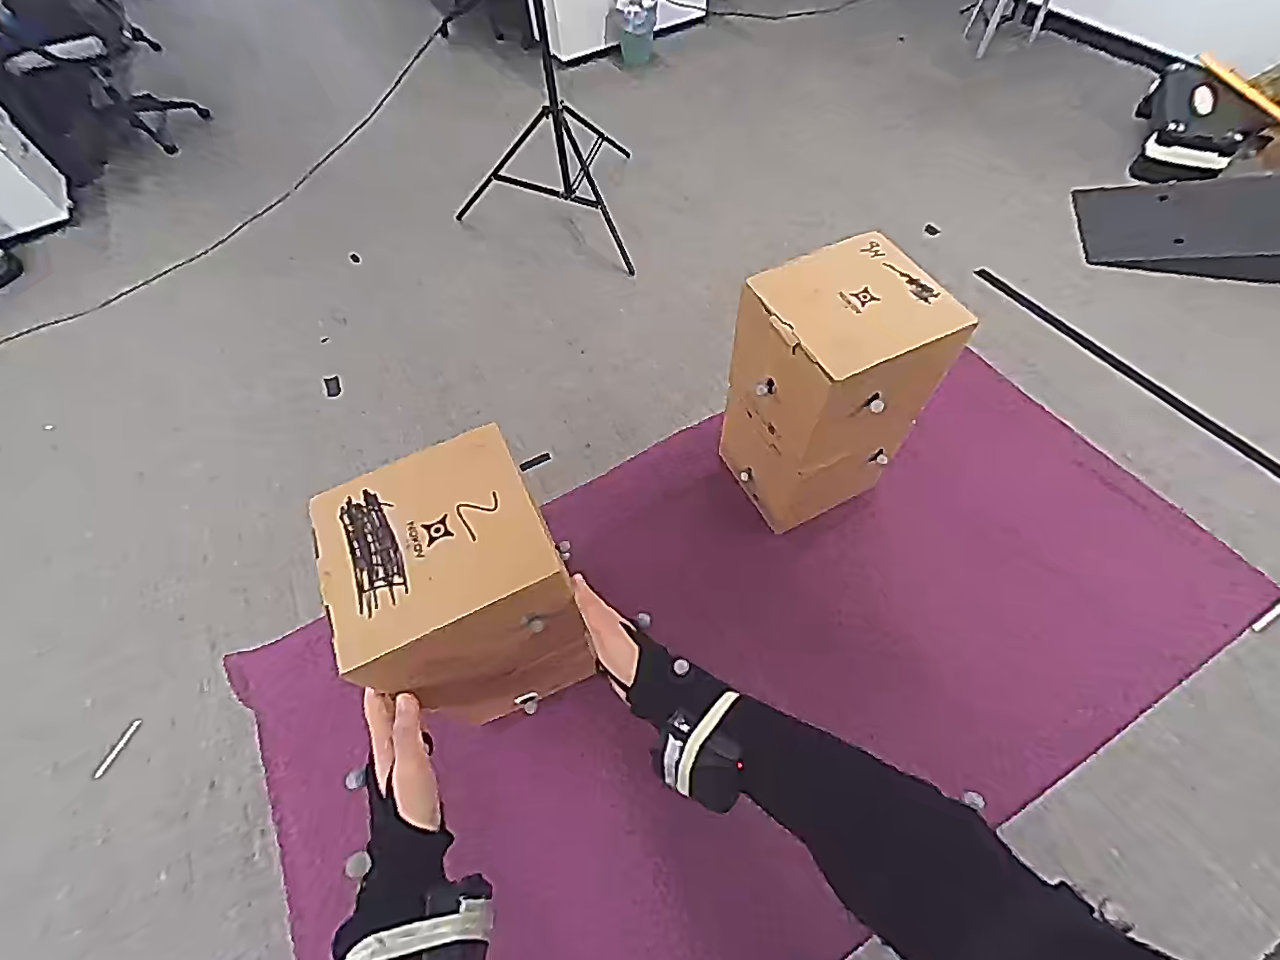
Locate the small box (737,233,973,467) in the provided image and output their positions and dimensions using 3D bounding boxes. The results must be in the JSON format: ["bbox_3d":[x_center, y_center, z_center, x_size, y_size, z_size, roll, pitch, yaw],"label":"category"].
[{"bbox_3d":[0.224,-0.142,0.623,0.179,0.176,0.168,-24,61,-10],"label":"small box"}]

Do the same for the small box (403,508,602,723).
[{"bbox_3d":[-0.157,0.168,0.652,0.168,0.176,0.179,-23,62,-9],"label":"small box"}]

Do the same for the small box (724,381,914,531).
[{"bbox_3d":[0.235,-0.056,0.762,0.179,0.176,0.168,-25,61,-11],"label":"small box"}]
